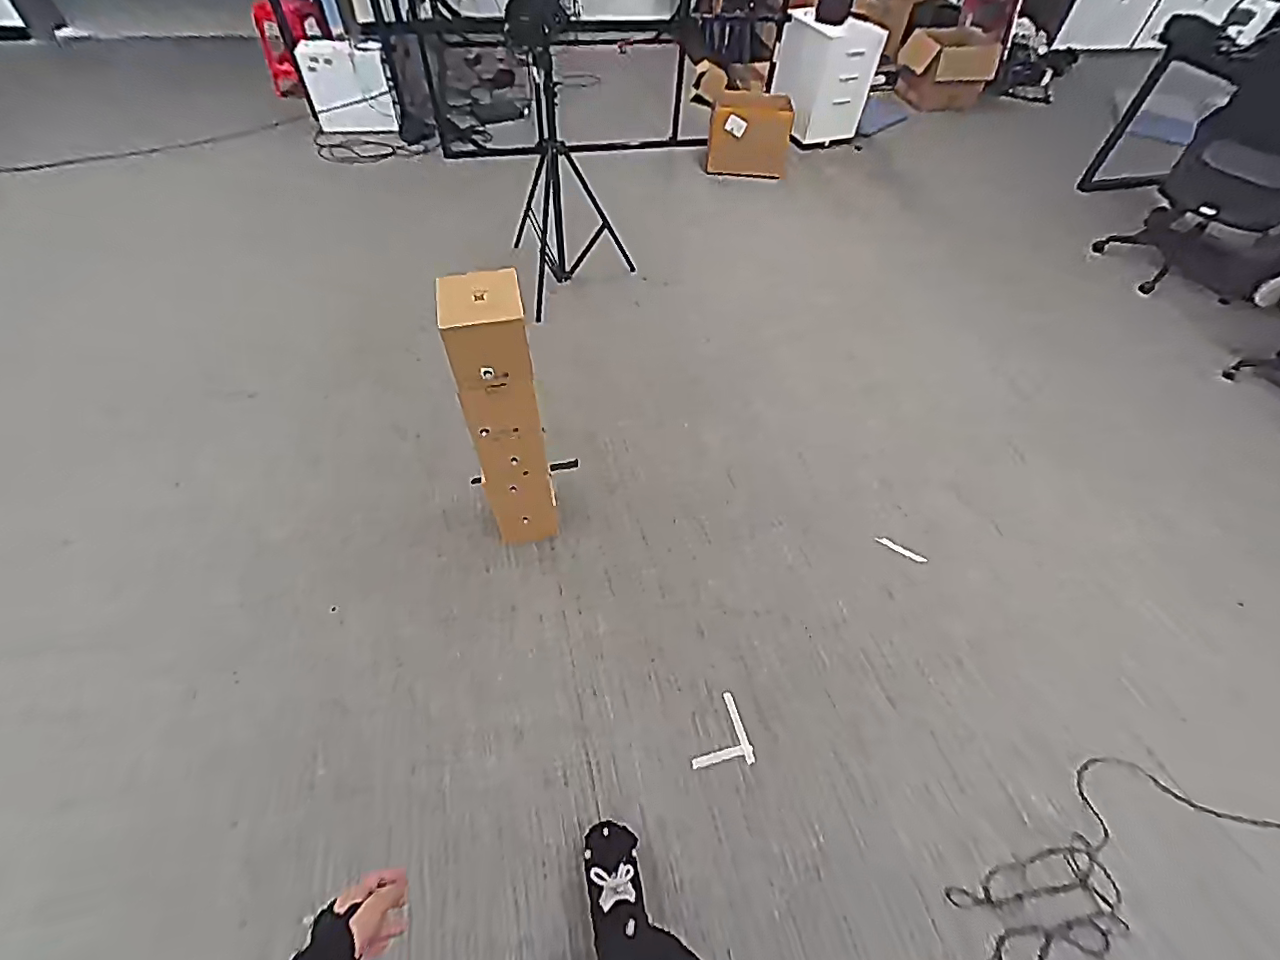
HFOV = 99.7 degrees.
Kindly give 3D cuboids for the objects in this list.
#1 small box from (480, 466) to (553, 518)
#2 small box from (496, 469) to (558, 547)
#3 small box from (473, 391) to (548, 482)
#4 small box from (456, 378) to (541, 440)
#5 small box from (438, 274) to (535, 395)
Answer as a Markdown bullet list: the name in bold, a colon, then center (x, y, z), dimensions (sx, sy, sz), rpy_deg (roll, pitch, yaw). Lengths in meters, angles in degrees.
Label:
- **small box**: center (-0.349, -0.008, 1.531), dimensions (0.179, 0.176, 0.168), rpy_deg (-8, 55, -8)
- **small box**: center (-0.349, 0.088, 1.666), dimensions (0.179, 0.176, 0.168), rpy_deg (-9, 54, -10)
- **small box**: center (-0.334, -0.109, 1.404), dimensions (0.168, 0.176, 0.179), rpy_deg (-8, 55, -9)
- **small box**: center (-0.331, -0.209, 1.274), dimensions (0.168, 0.176, 0.179), rpy_deg (-9, 53, -9)
- **small box**: center (-0.322, -0.307, 1.145), dimensions (0.168, 0.176, 0.179), rpy_deg (-11, 55, -10)
